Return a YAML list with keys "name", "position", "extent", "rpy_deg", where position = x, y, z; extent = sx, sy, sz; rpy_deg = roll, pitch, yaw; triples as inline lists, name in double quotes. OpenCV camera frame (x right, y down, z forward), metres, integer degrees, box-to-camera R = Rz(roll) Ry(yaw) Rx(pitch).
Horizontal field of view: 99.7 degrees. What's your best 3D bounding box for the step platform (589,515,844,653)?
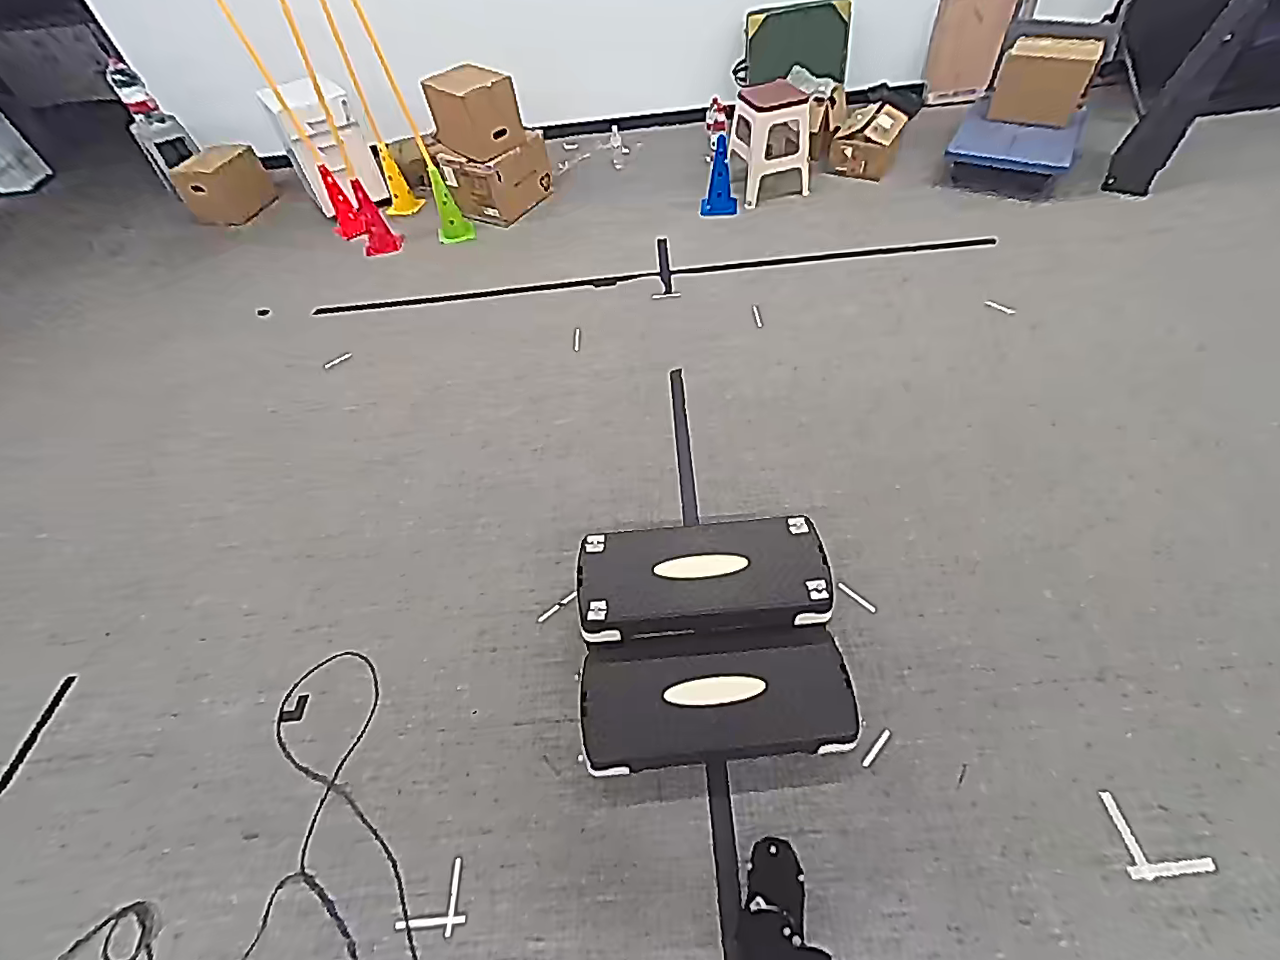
- name: "step platform"
  position: [0.200, 0.284, 1.507]
  extent: [0.684, 0.204, 0.286]
  rpy_deg: [-6, 51, 0]
